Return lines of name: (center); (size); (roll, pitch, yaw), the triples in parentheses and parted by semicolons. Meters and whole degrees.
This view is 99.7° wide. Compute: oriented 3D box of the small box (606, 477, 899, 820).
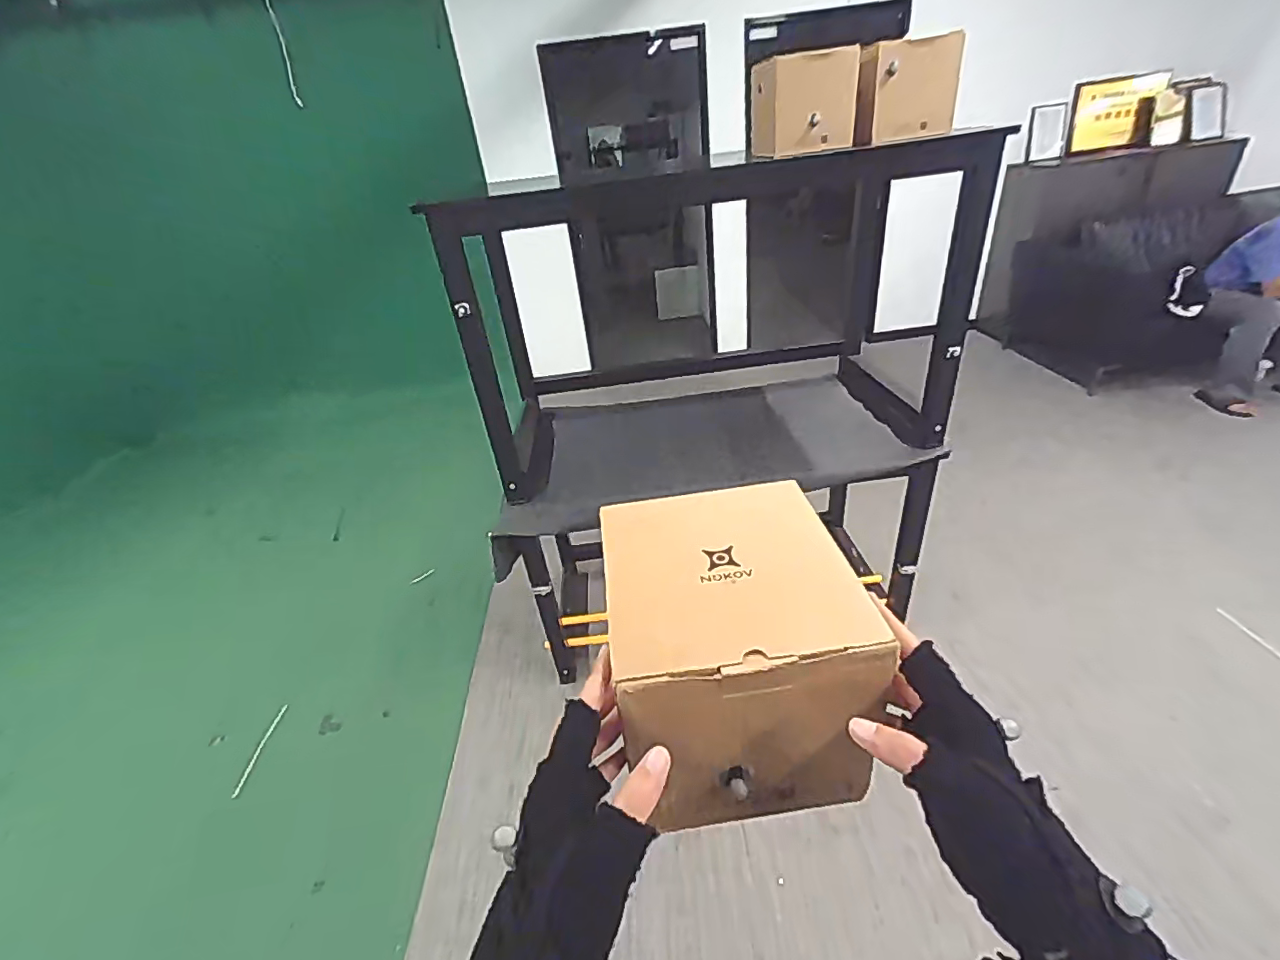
small box: (0.065, 0.120, 0.416); (0.168, 0.176, 0.179); (-8, 32, -2)

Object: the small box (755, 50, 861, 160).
small box: (0.342, -0.779, 1.140); (0.168, 0.176, 0.179); (-8, 32, -1)
